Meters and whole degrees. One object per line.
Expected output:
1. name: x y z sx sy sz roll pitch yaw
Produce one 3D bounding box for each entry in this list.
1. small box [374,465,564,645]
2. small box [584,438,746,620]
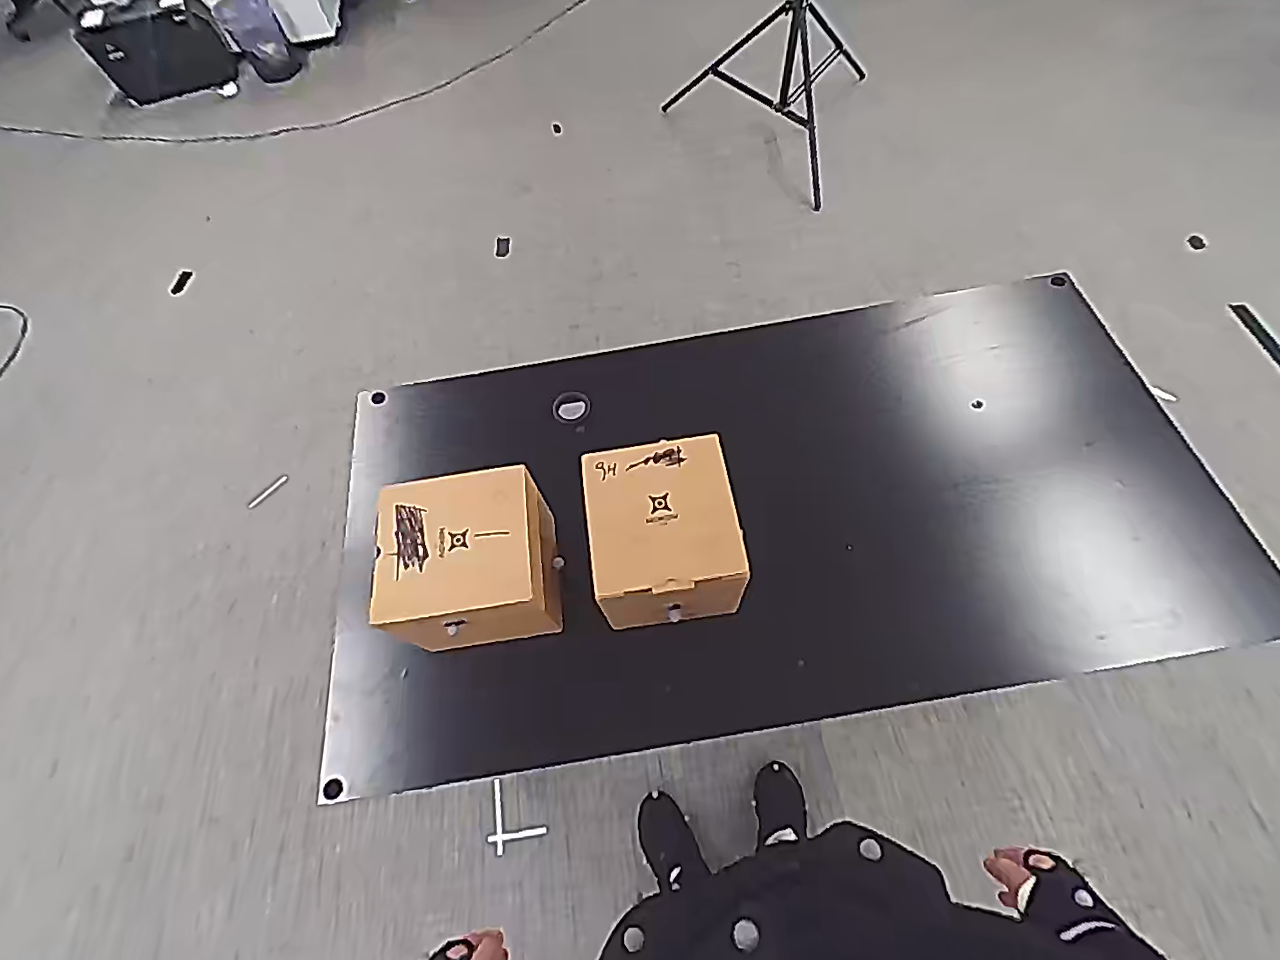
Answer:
1. small box: -0.202 0.102 0.678 0.179 0.176 0.168 -9 64 -1
2. small box: 0.029 0.070 0.675 0.168 0.176 0.179 -8 64 0
